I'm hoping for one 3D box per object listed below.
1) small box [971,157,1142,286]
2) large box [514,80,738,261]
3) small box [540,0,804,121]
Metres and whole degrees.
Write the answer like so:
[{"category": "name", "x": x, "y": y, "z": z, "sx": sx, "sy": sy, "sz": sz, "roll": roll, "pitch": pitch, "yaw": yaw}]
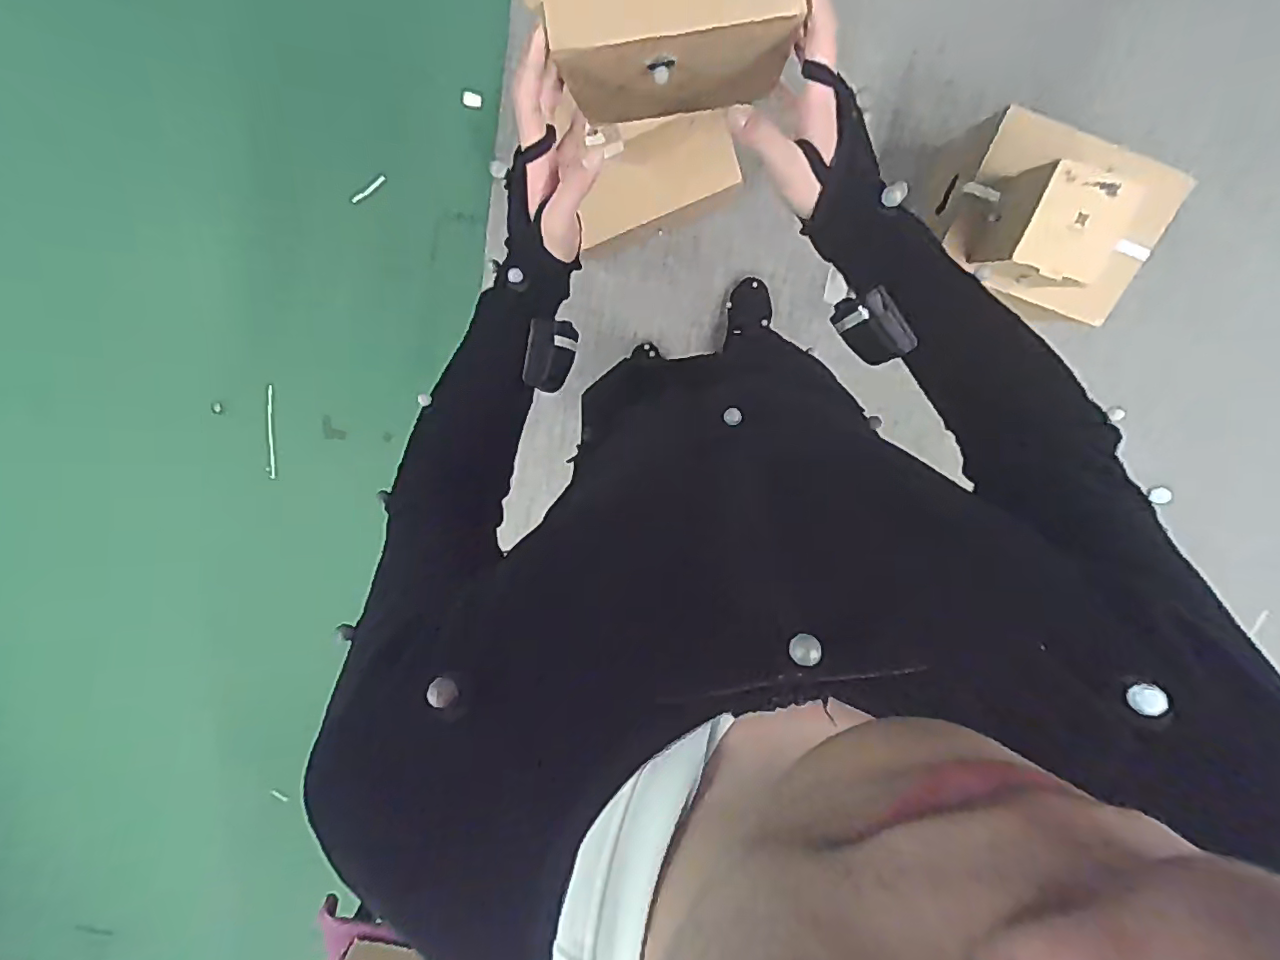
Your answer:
[{"category": "small box", "x": 0.780, "y": -0.487, "z": 1.042, "sx": 0.168, "sy": 0.176, "sz": 0.179, "roll": 17, "pitch": 111, "yaw": -2}, {"category": "large box", "x": -0.015, "y": -0.752, "z": 1.276, "sx": 0.408, "sy": 0.320, "sz": 0.320, "roll": -19, "pitch": 105, "yaw": 11}, {"category": "small box", "x": 0.022, "y": -0.400, "z": 0.414, "sx": 0.179, "sy": 0.176, "sz": 0.168, "roll": -4, "pitch": 109, "yaw": 6}]
